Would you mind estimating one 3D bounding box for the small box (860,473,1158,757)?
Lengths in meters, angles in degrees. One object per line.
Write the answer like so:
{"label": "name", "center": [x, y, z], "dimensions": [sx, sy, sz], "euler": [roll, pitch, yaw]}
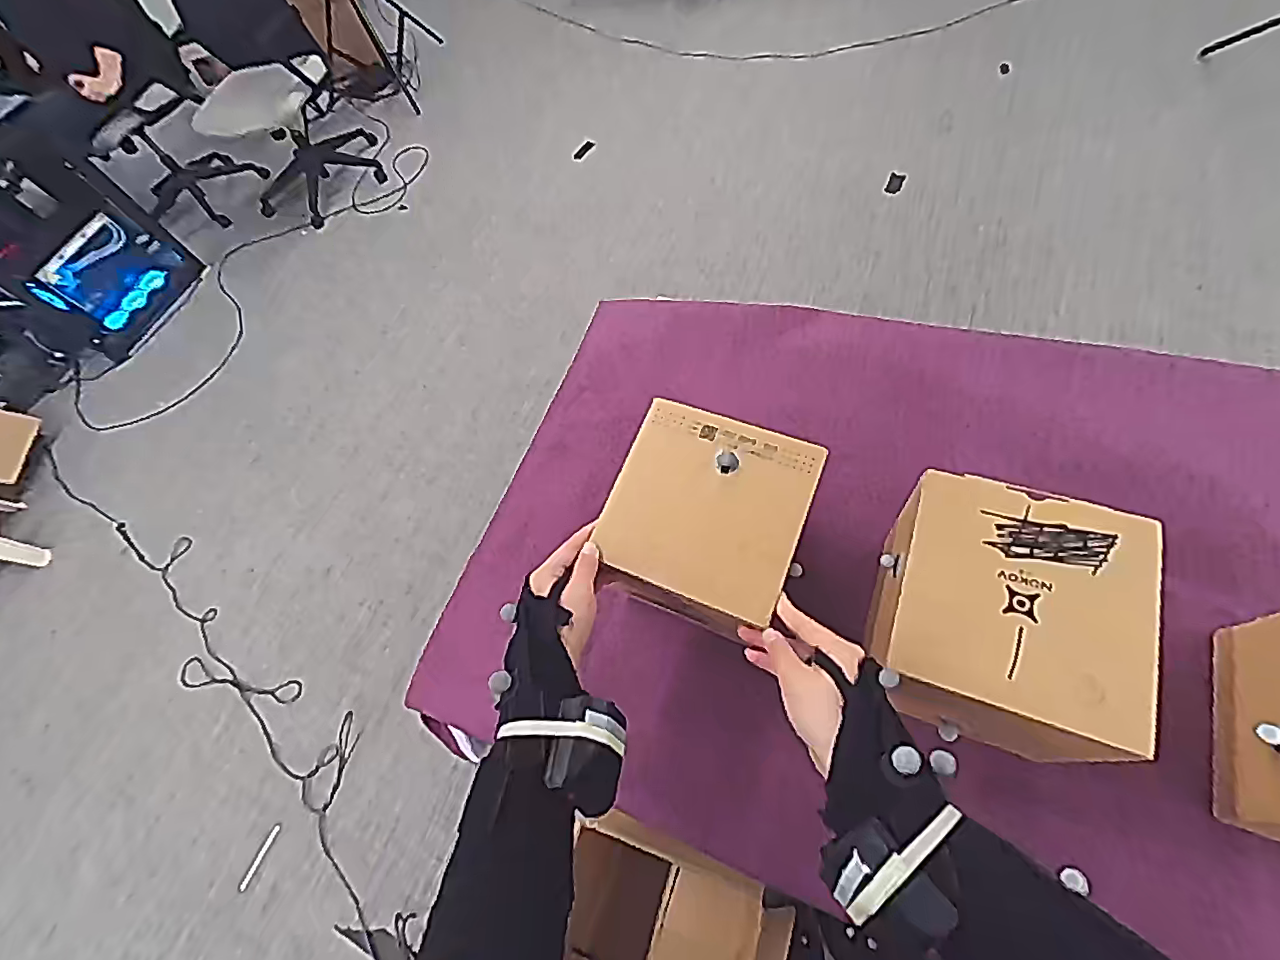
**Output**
{"label": "small box", "center": [0.305, 0.123, 0.479], "dimensions": [0.168, 0.176, 0.179], "euler": [15, 67, 20]}
